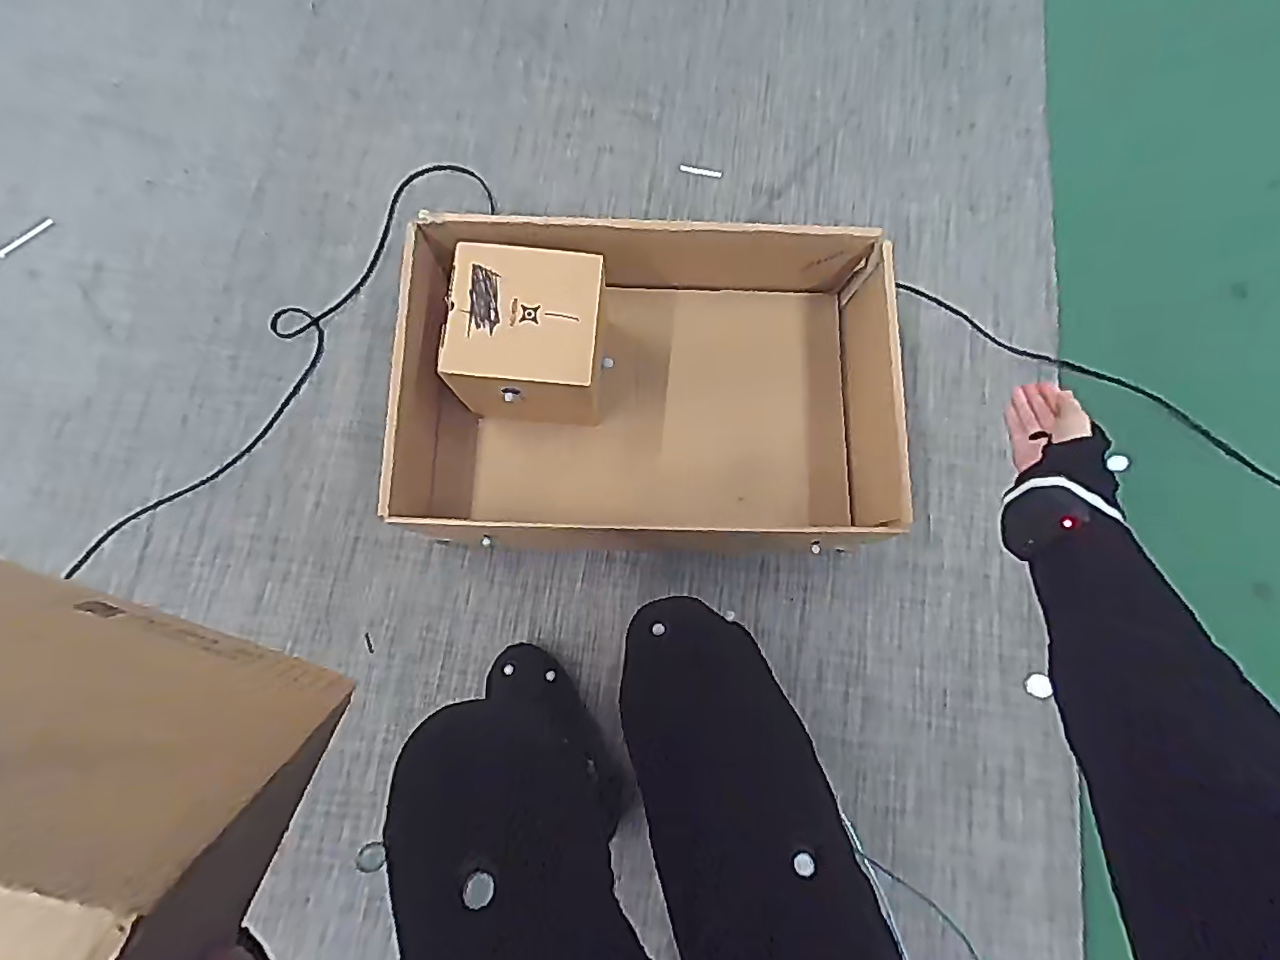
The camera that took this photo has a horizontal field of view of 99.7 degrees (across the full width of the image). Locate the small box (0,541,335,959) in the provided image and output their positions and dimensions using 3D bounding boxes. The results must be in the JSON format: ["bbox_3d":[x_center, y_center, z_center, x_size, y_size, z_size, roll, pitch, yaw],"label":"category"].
[{"bbox_3d":[-0.219,0.126,0.148,0.168,0.176,0.179,26,79,-11],"label":"small box"}]
